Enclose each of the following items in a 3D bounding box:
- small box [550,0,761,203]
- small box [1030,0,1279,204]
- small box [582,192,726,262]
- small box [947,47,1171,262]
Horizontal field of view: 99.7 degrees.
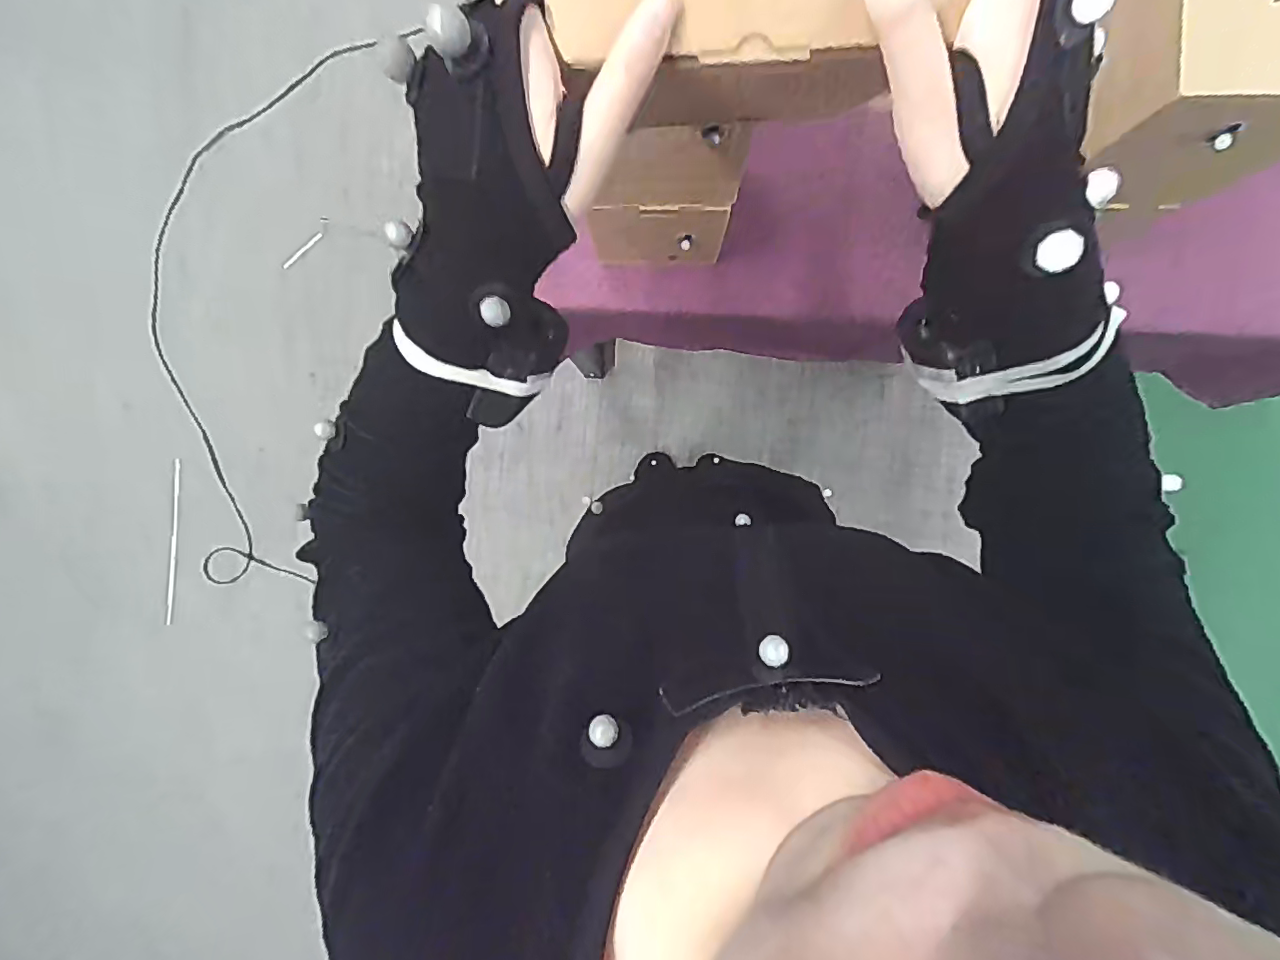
[{"bbox_3d":[0.013,-0.388,0.524,0.179,0.176,0.168,-1,92,0],"label":"small box"},{"bbox_3d":[0.508,-0.381,0.508,0.179,0.176,0.168,2,91,1],"label":"small box"},{"bbox_3d":[0.021,-0.391,0.686,0.168,0.176,0.179,1,91,0],"label":"small box"},{"bbox_3d":[0.510,-0.387,0.674,0.168,0.176,0.179,3,92,1],"label":"small box"}]
